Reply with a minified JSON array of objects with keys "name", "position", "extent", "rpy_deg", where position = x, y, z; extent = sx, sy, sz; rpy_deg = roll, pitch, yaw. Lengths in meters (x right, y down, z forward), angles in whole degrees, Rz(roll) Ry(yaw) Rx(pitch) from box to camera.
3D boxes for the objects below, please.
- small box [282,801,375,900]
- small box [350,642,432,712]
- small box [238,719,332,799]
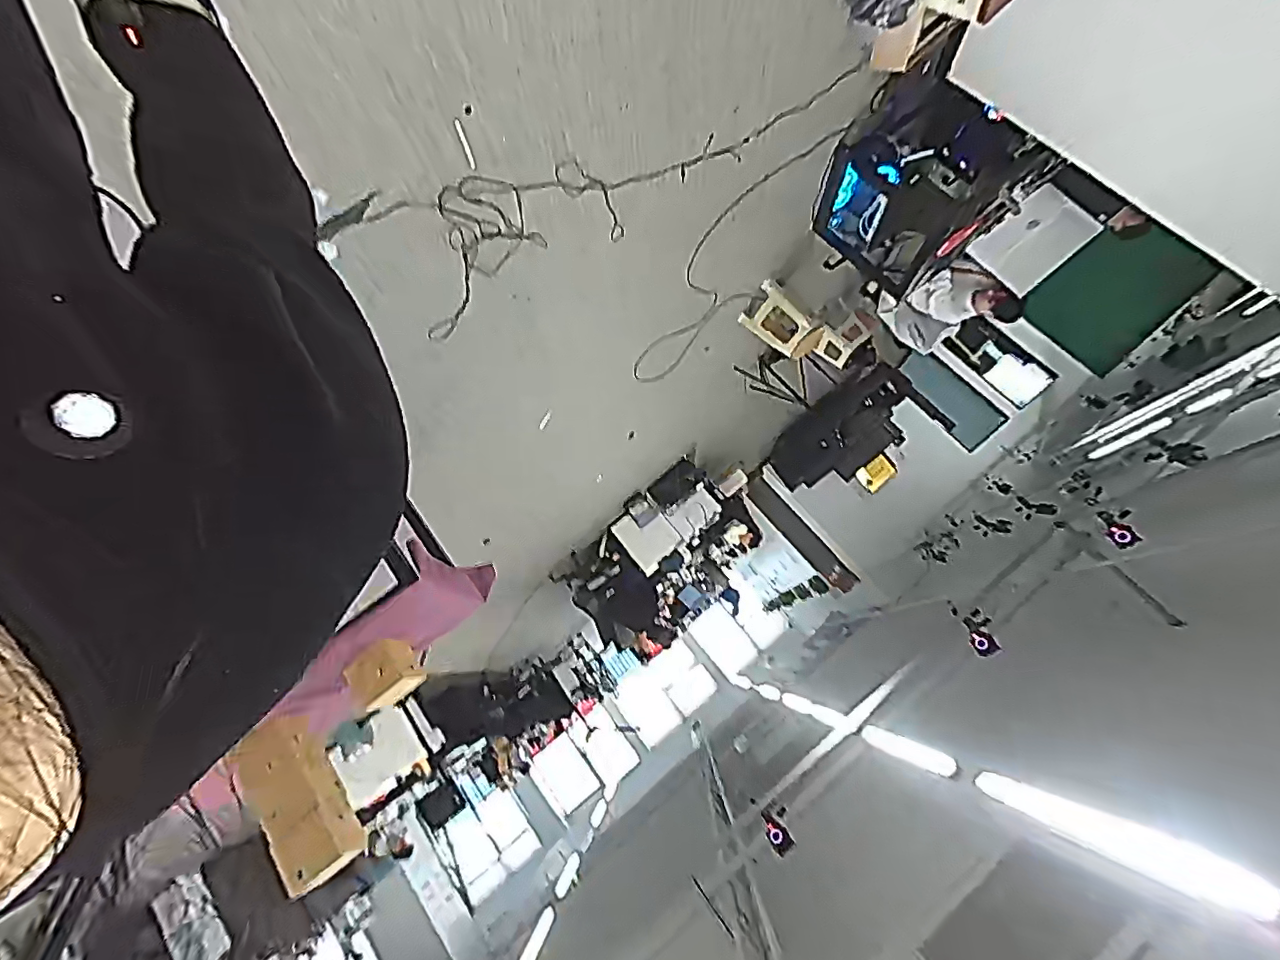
[{"name":"small box","position":[-0.998,1.171,1.723],"extent":[0.179,0.176,0.168],"rpy_deg":[-38,163,-10]},{"name":"small box","position":[-0.883,0.692,1.919],"extent":[0.168,0.176,0.179],"rpy_deg":[-39,164,-8]},{"name":"small box","position":[-1.197,0.928,1.823],"extent":[0.179,0.176,0.168],"rpy_deg":[-37,162,-11]}]
